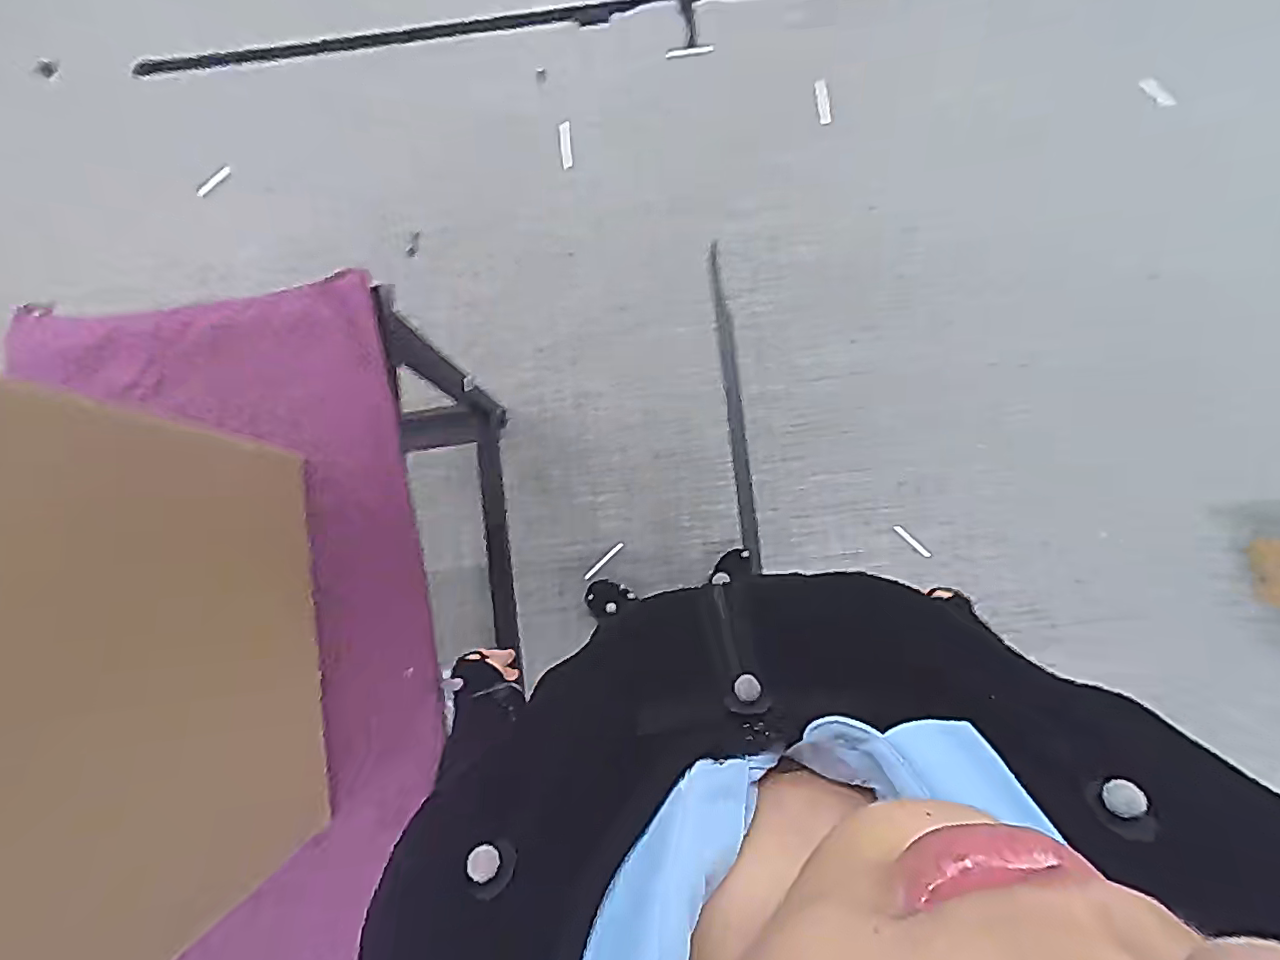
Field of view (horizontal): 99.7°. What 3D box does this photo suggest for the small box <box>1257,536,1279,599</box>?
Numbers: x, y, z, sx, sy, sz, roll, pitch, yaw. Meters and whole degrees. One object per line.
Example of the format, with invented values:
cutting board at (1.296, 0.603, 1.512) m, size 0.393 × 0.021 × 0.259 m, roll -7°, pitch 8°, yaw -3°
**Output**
small box at (1.760, 0.226, 1.391) m, size 0.179 × 0.176 × 0.168 m, roll -3°, pitch 84°, yaw 0°
